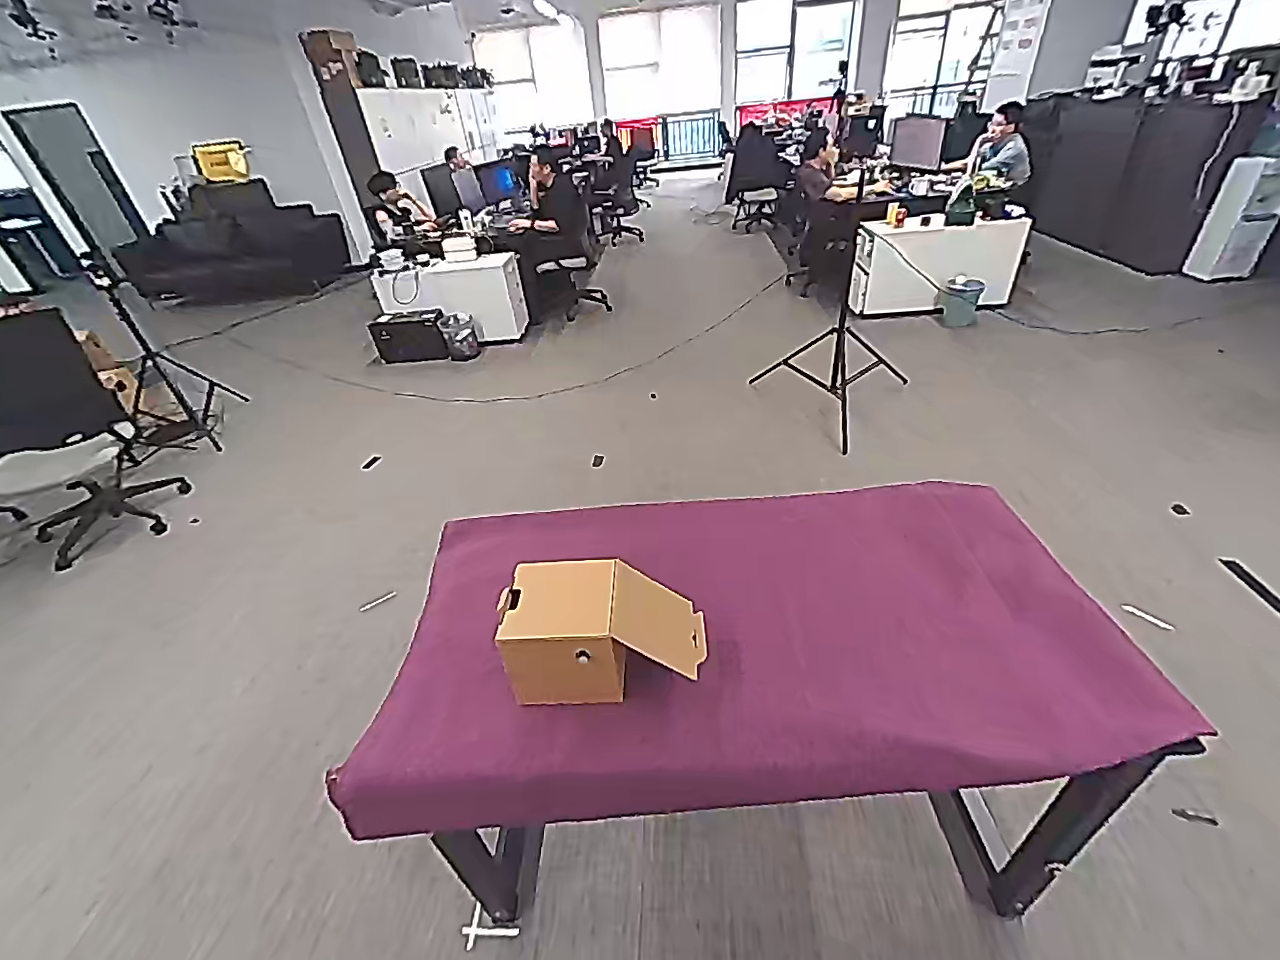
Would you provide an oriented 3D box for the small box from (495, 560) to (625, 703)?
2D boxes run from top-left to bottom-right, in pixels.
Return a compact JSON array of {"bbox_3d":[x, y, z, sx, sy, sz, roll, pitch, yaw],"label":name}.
[{"bbox_3d":[-0.120,0.255,0.908,0.179,0.176,0.168,-4,34,5],"label":"small box"}]
